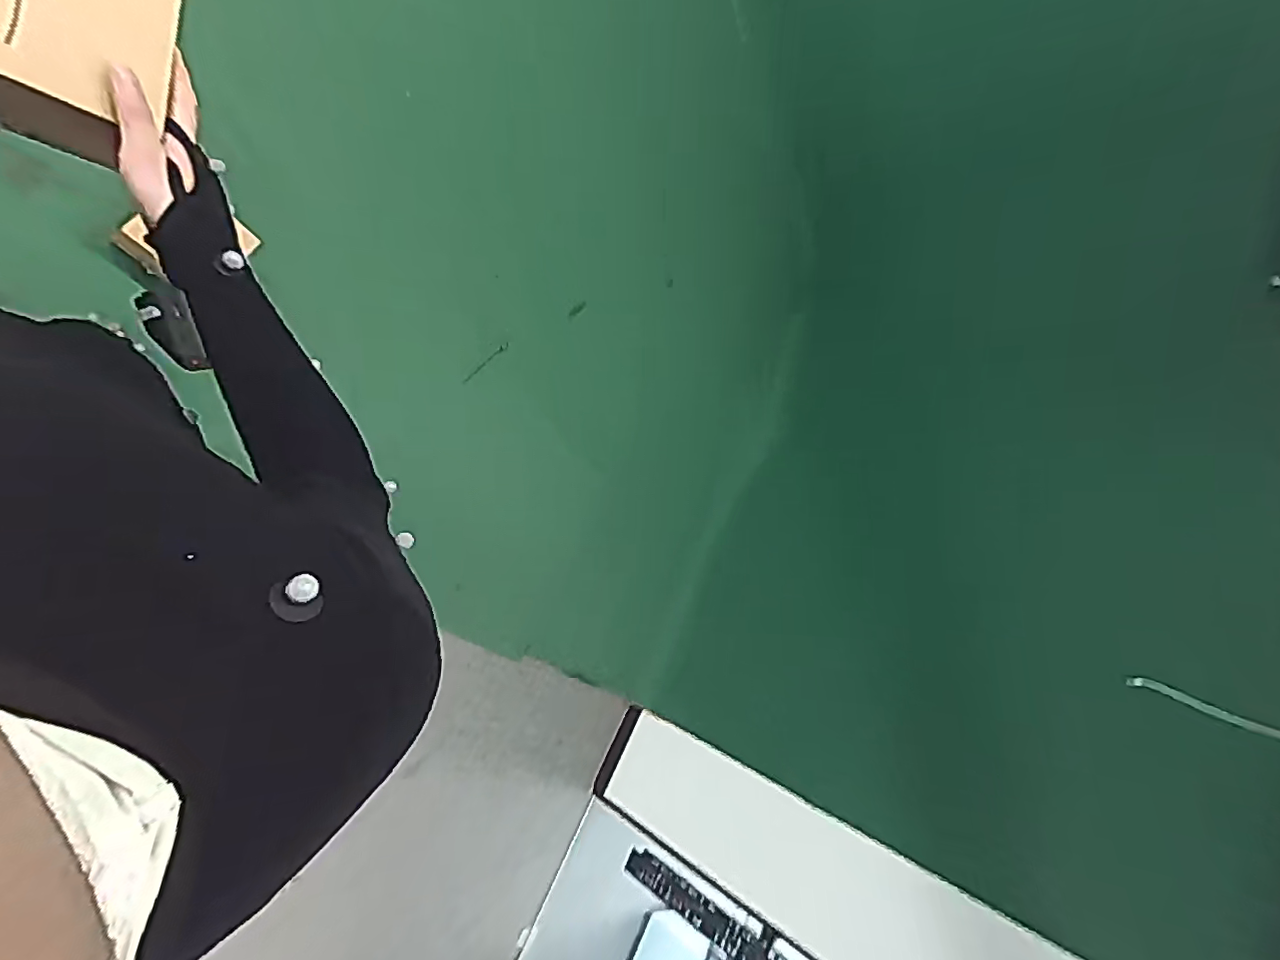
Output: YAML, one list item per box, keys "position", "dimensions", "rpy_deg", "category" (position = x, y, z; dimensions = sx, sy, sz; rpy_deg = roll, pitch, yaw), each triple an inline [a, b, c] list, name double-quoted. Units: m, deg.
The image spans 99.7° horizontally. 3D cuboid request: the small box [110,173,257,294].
- position: [-0.996, -0.529, 1.177]
  dimensions: [0.179, 0.176, 0.168]
  rpy_deg: [-60, 138, -19]
  category: "small box"
